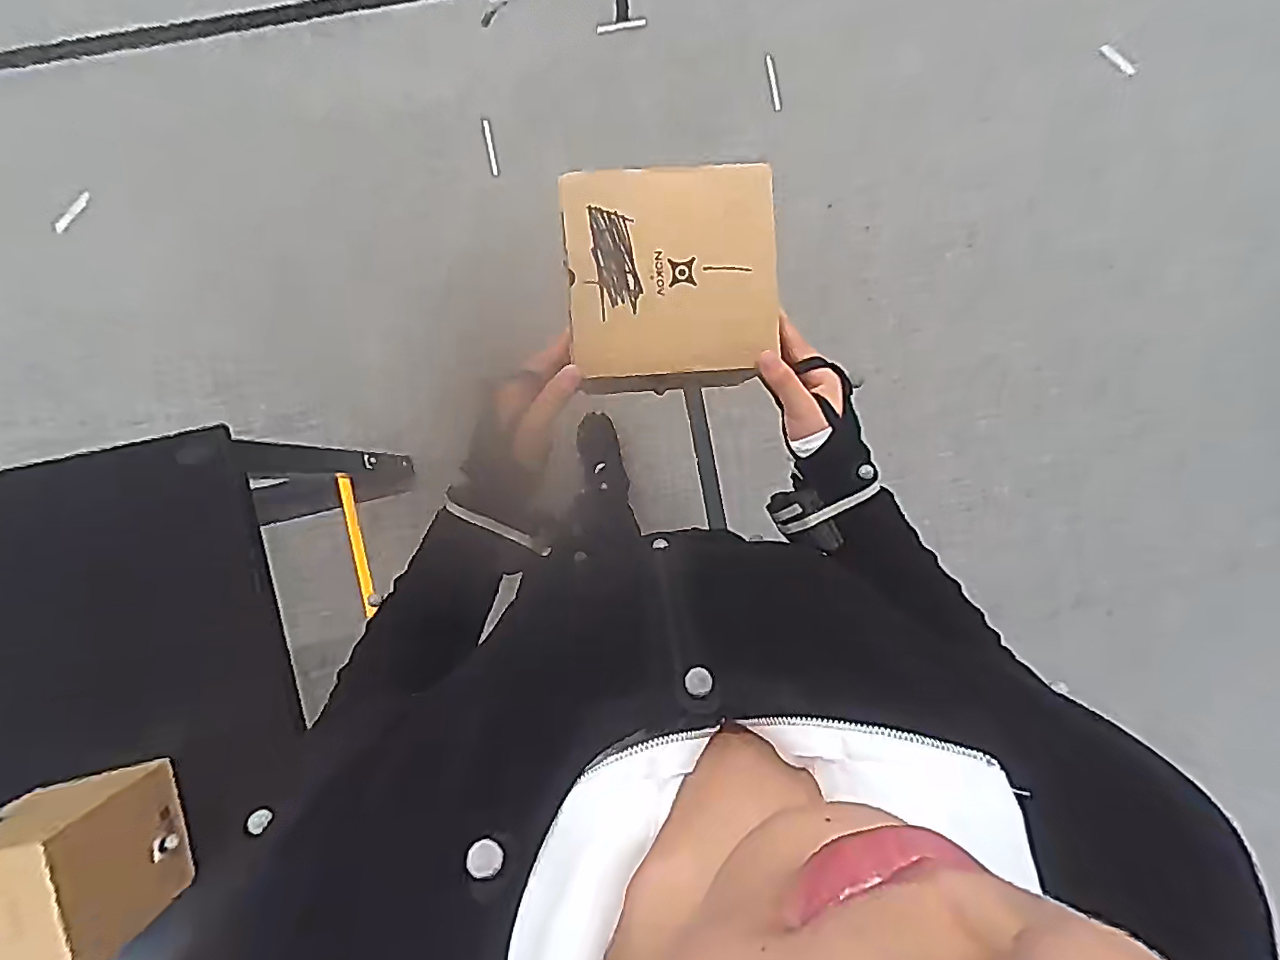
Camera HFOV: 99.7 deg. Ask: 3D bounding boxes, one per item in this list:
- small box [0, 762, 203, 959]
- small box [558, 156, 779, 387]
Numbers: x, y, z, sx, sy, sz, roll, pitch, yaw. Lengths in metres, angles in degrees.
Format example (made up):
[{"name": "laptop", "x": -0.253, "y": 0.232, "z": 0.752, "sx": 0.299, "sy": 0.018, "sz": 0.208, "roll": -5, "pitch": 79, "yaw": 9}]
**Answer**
[{"name": "small box", "x": -0.679, "y": 0.469, "z": 0.637, "sx": 0.179, "sy": 0.176, "sz": 0.168, "roll": -14, "pitch": 92, "yaw": -4}, {"name": "small box", "x": 0.022, "y": -0.183, "z": 0.523, "sx": 0.179, "sy": 0.176, "sz": 0.168, "roll": -4, "pitch": 95, "yaw": -3}]
